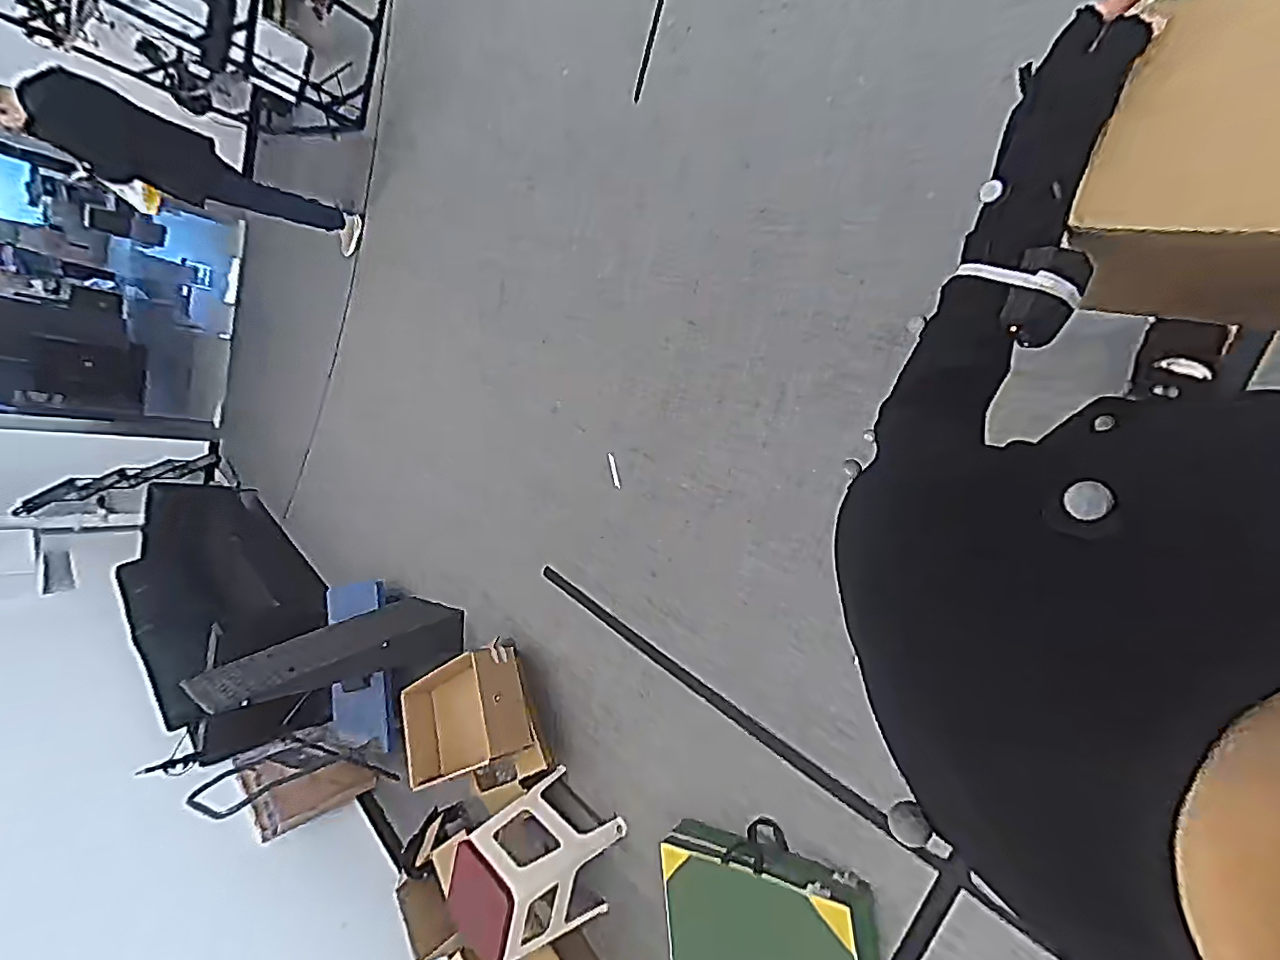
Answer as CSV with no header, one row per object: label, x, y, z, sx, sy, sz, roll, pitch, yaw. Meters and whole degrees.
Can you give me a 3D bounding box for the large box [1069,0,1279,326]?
large box,0.602,-0.289,0.388,0.408,0.320,0.320,22,107,36
